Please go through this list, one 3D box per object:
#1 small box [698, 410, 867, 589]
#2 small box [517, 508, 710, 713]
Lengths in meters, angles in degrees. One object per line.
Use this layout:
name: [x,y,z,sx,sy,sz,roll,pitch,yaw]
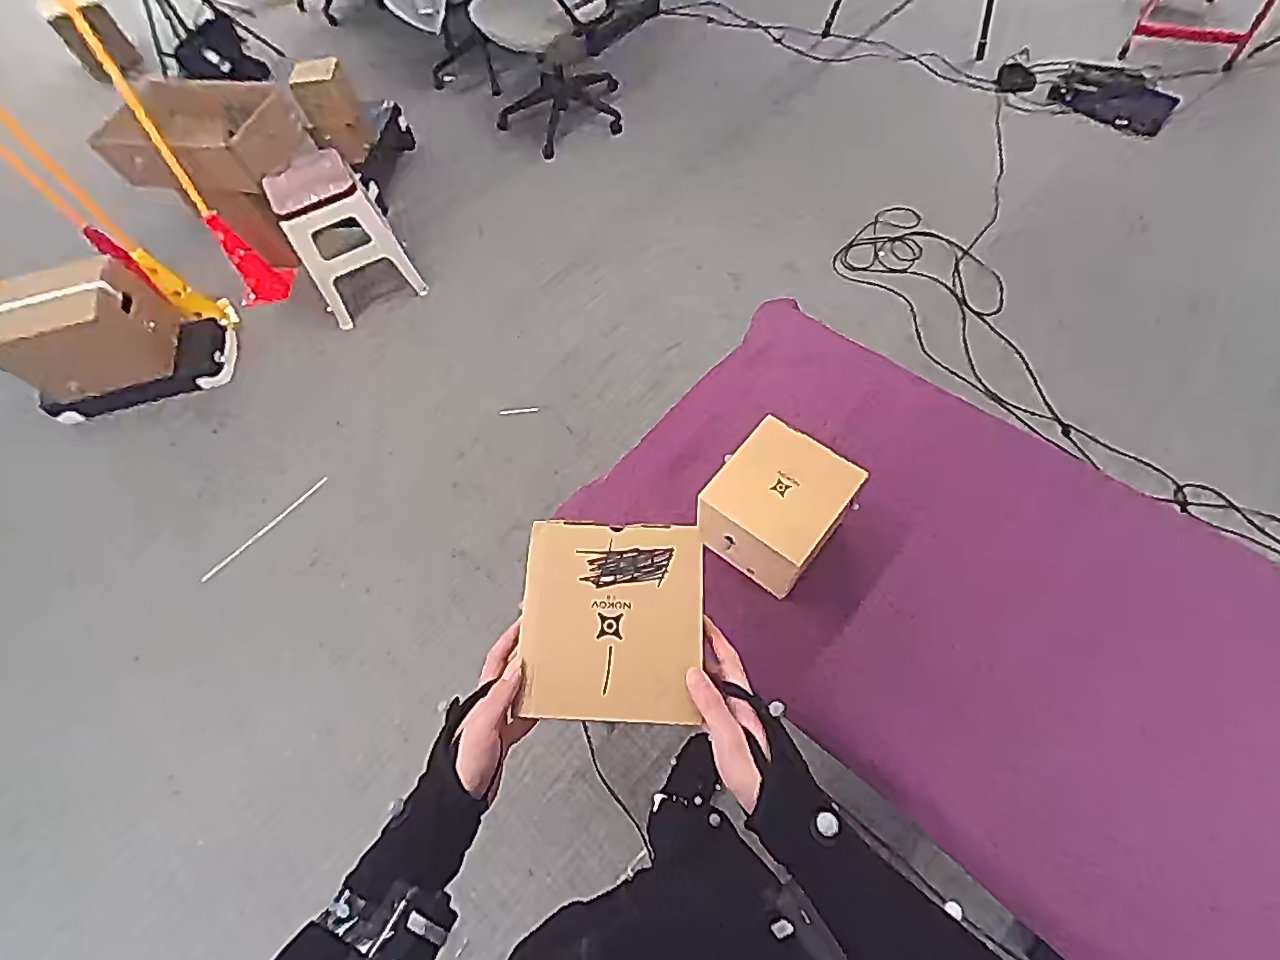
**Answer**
small box: [0.204,0.037,0.810,0.168,0.176,0.179,35,71,21]
small box: [-0.019,0.139,0.561,0.168,0.176,0.179,2,70,3]
